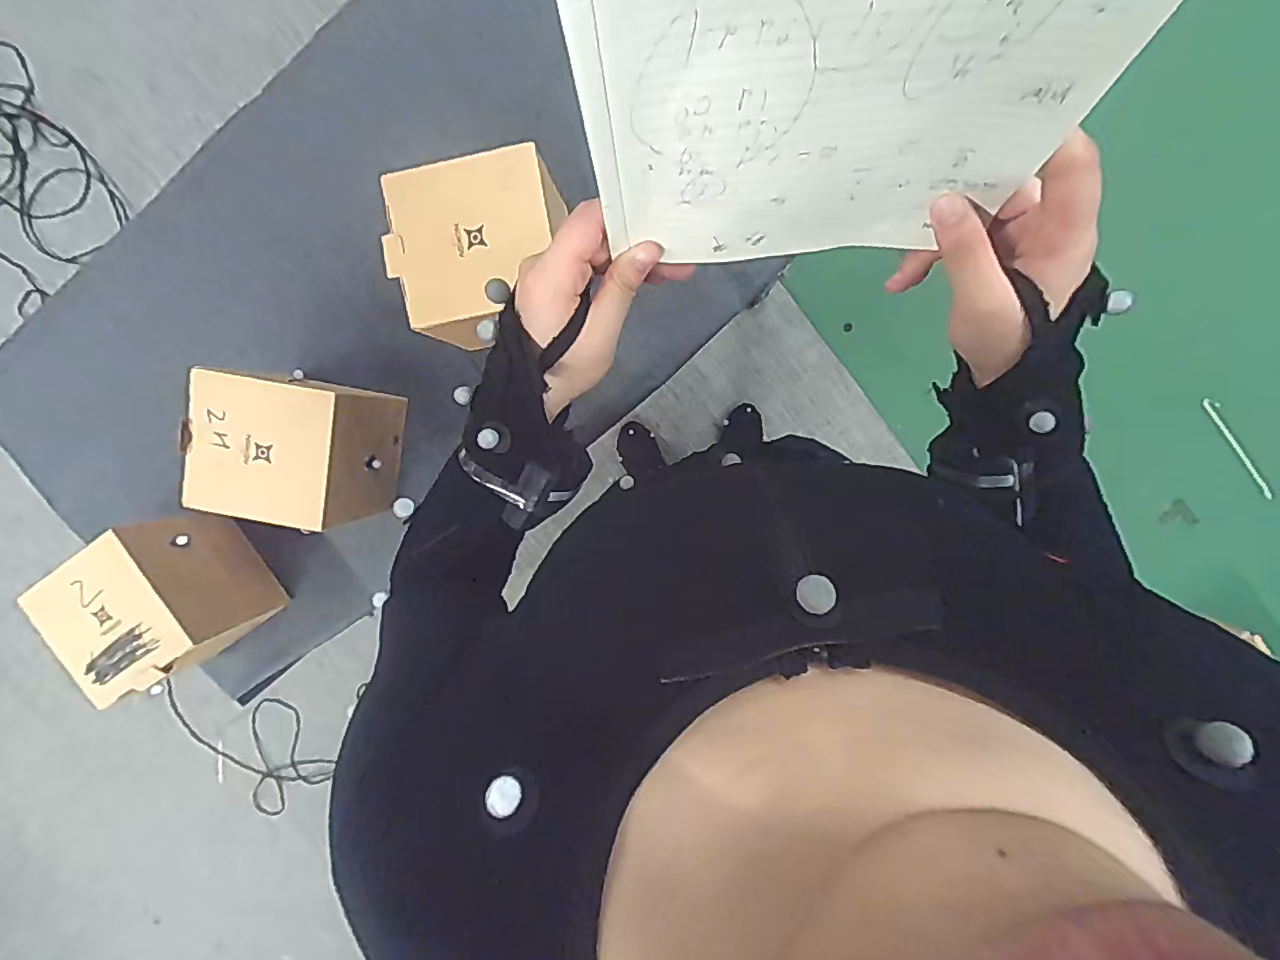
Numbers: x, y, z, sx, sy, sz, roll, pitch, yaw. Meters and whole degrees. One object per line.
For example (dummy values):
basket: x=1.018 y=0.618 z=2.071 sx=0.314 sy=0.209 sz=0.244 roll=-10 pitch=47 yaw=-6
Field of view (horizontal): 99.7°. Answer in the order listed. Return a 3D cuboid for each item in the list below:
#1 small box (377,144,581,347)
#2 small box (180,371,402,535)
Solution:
small box: x=-0.175 y=-0.265 z=0.653 sx=0.179 sy=0.176 sz=0.168 roll=-10 pitch=96 yaw=6
small box: x=-0.432 y=-0.040 z=0.696 sx=0.179 sy=0.176 sz=0.168 roll=10 pitch=97 yaw=3
